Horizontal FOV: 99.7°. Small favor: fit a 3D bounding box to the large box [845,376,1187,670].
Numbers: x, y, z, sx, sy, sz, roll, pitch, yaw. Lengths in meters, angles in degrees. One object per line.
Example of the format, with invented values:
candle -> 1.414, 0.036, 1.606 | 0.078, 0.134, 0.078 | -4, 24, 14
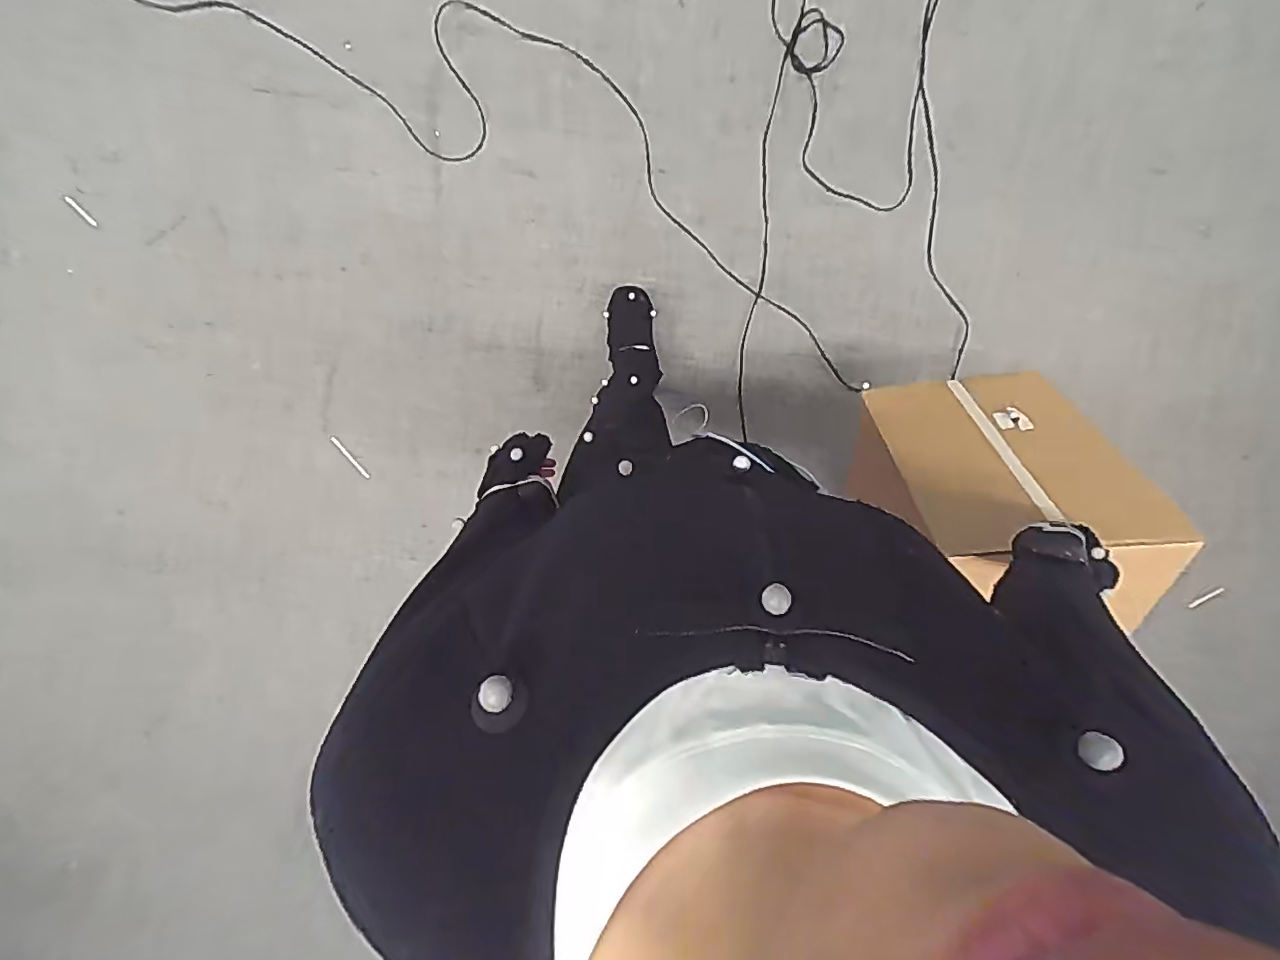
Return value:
large box -> 0.574, 0.066, 0.943 | 0.320, 0.408, 0.320 | -4, 130, 7
